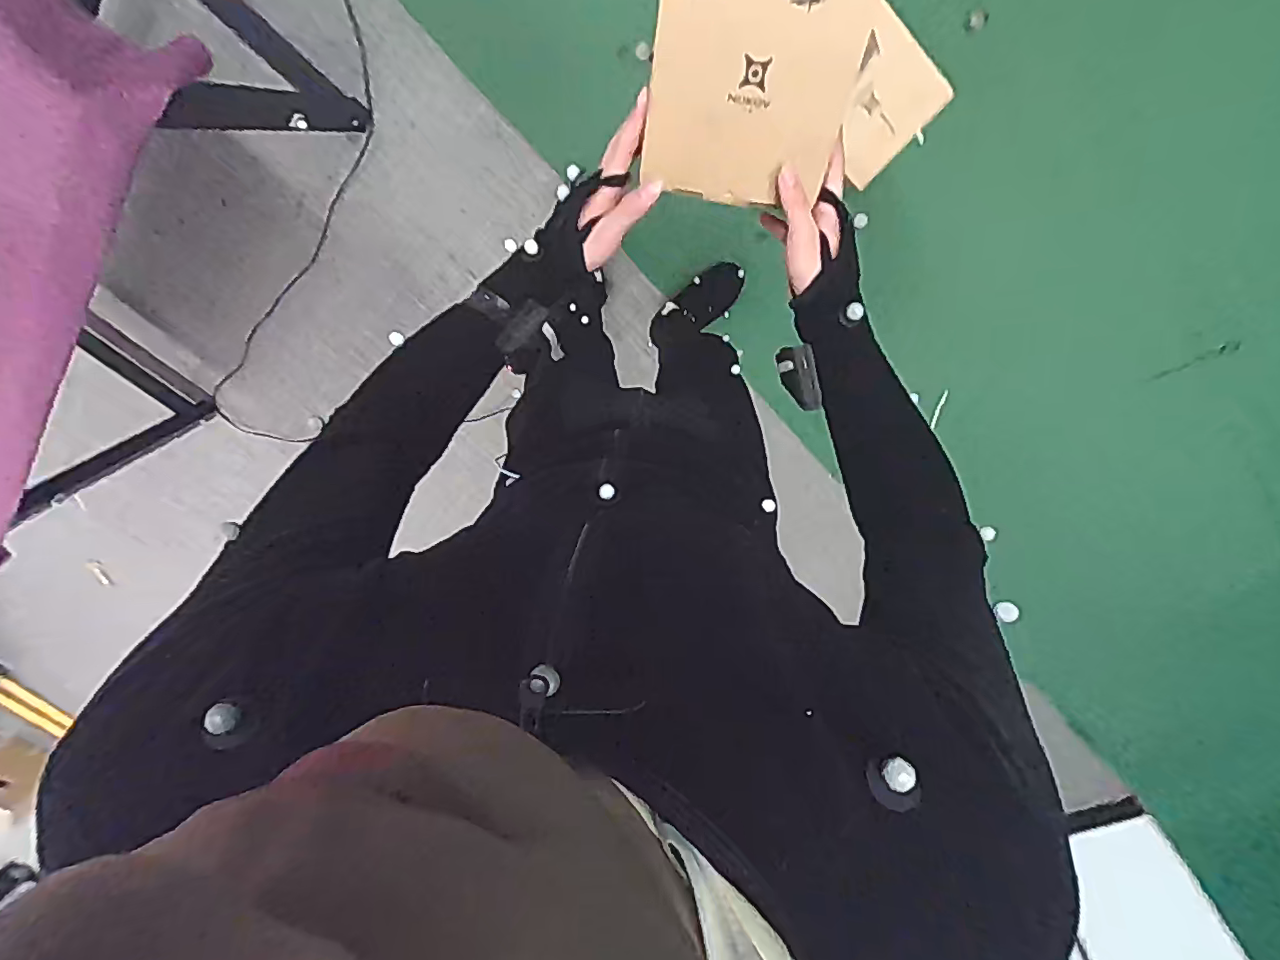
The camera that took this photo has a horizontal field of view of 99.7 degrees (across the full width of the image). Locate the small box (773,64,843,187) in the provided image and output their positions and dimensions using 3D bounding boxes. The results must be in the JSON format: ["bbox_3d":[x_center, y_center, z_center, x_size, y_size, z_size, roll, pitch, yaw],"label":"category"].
[{"bbox_3d":[0.365,-0.676,0.993,0.179,0.176,0.168,41,118,-16],"label":"small box"}]

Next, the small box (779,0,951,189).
[{"bbox_3d":[0.339,-0.594,0.853,0.179,0.176,0.168,39,119,-16],"label":"small box"}]
